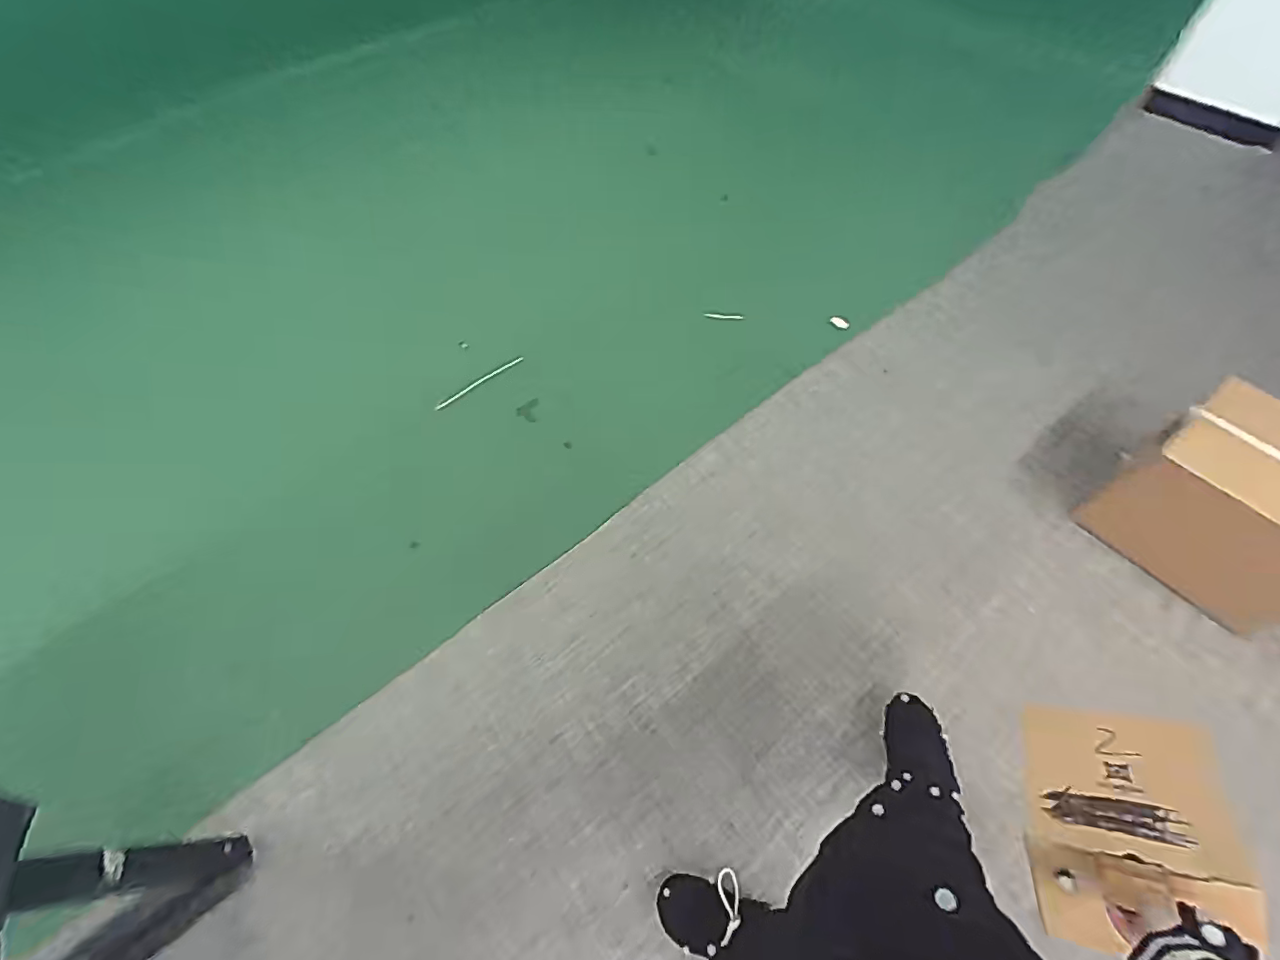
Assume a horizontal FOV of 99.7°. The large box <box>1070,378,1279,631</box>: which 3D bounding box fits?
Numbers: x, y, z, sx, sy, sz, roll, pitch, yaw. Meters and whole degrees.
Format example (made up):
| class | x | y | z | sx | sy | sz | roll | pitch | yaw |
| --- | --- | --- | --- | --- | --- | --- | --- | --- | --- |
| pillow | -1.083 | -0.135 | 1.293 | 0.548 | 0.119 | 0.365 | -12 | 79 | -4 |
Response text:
| class | x | y | z | sx | sy | sz | roll | pitch | yaw |
| --- | --- | --- | --- | --- | --- | --- | --- | --- | --- |
| large box | 1.314 | 0.056 | 1.203 | 0.320 | 0.320 | 0.408 | -38 | 65 | -16 |
